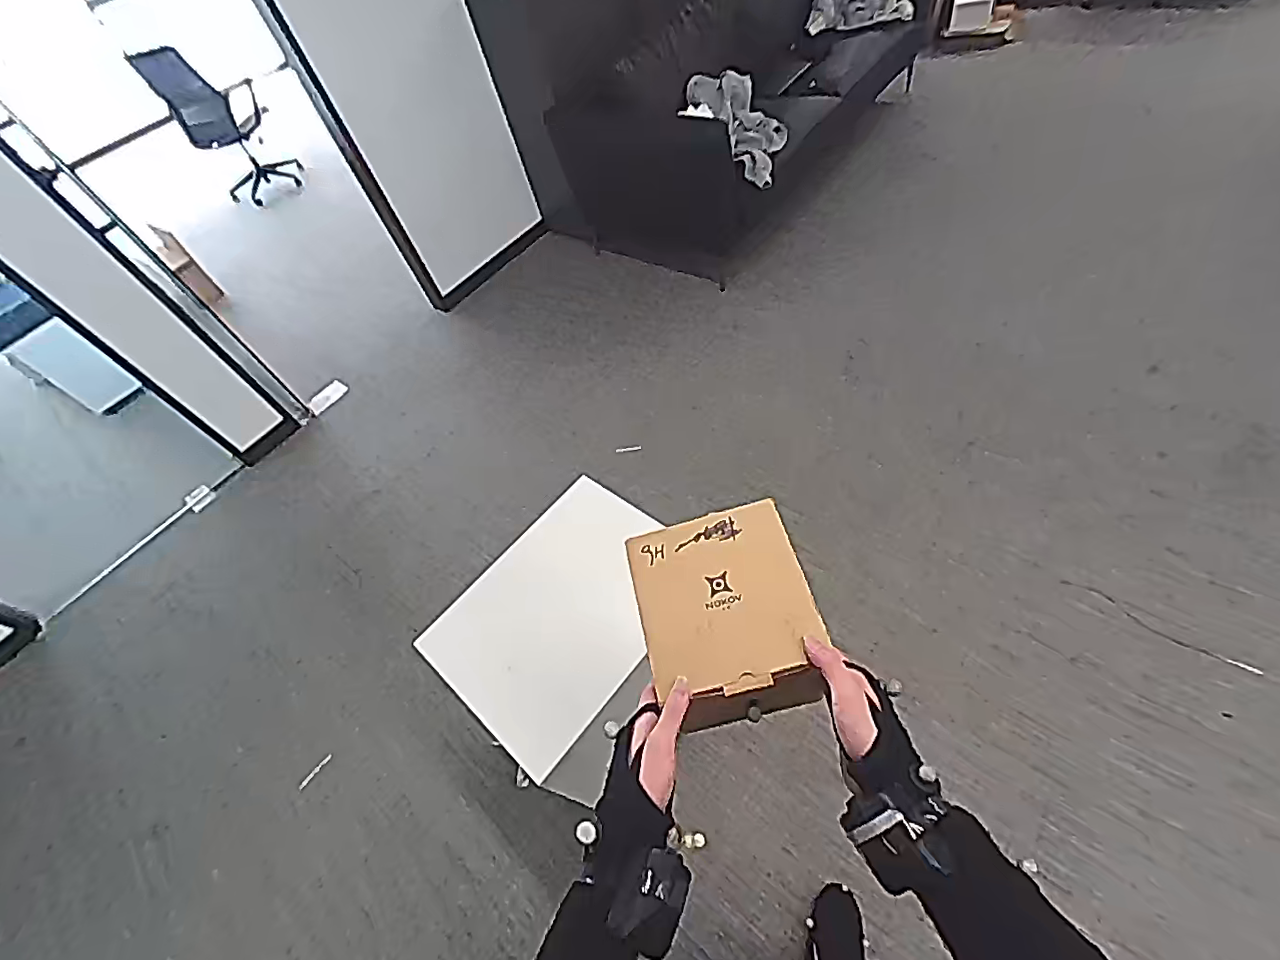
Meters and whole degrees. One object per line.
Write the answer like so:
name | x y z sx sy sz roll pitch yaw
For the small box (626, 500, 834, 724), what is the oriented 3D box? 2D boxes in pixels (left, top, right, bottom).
small box | 0.099 0.155 0.600 0.168 0.176 0.179 -18 54 2
